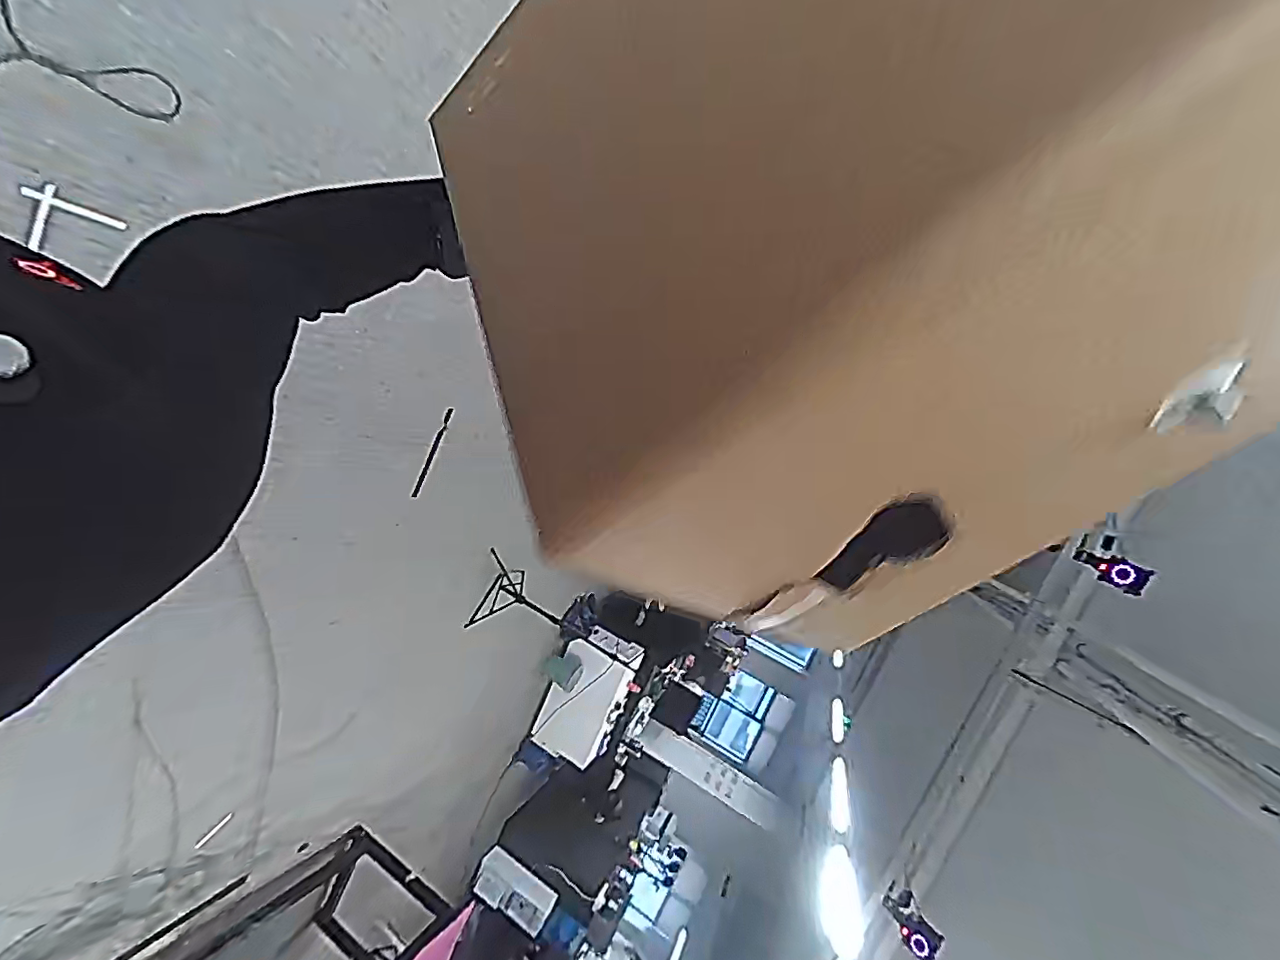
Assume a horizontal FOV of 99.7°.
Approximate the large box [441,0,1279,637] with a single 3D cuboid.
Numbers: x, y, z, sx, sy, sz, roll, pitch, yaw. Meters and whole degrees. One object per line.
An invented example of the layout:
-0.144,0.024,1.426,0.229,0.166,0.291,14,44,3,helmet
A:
0.105,-0.163,0.358,0.320,0.408,0.320,-34,143,19,large box
